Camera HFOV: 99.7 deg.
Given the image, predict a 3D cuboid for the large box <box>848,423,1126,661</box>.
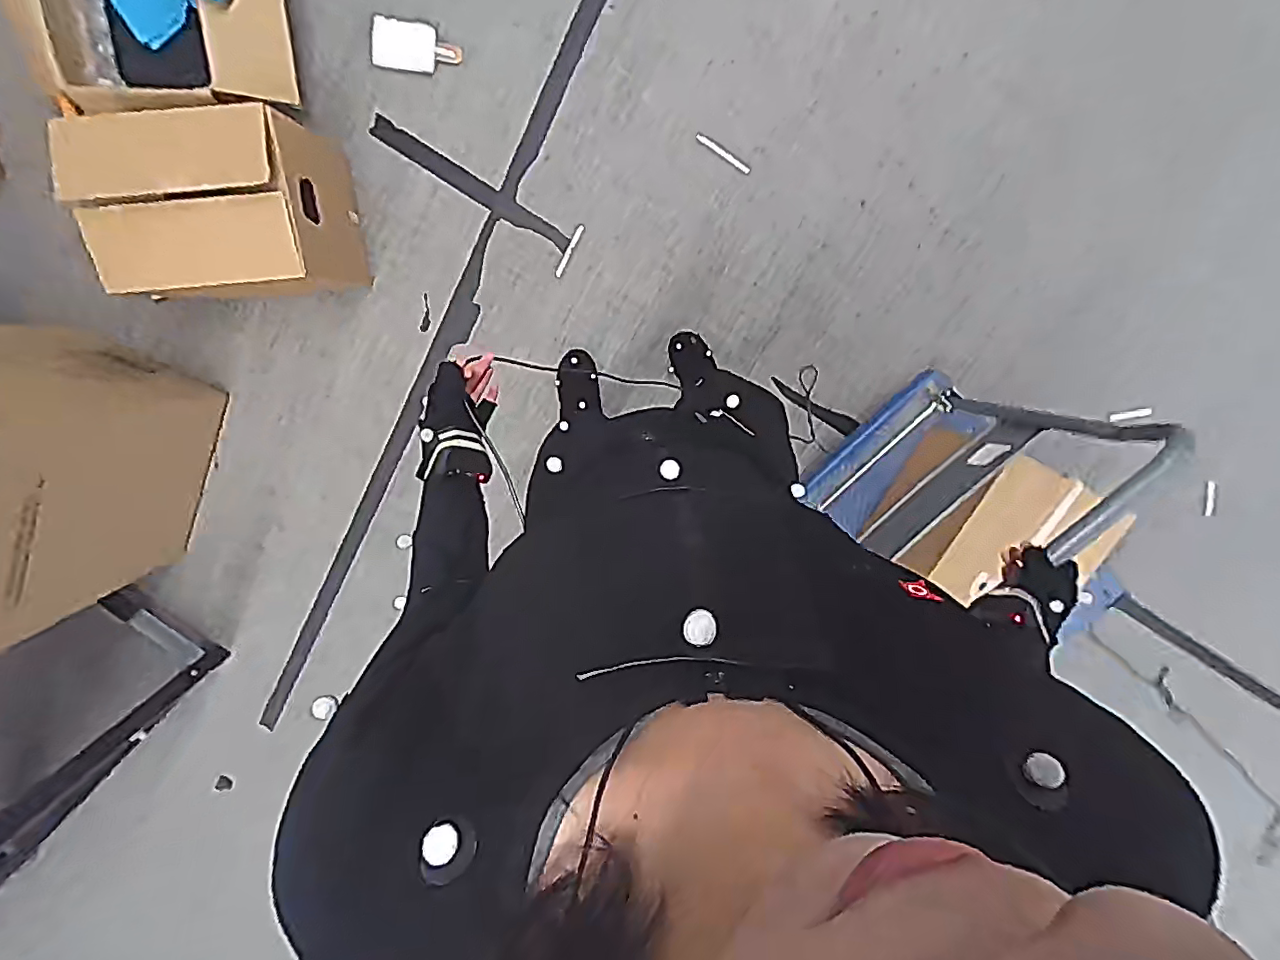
[{"bbox_3d":[0.771,0.128,1.268,0.320,0.320,0.408,25,104,-8],"label":"large box"}]
